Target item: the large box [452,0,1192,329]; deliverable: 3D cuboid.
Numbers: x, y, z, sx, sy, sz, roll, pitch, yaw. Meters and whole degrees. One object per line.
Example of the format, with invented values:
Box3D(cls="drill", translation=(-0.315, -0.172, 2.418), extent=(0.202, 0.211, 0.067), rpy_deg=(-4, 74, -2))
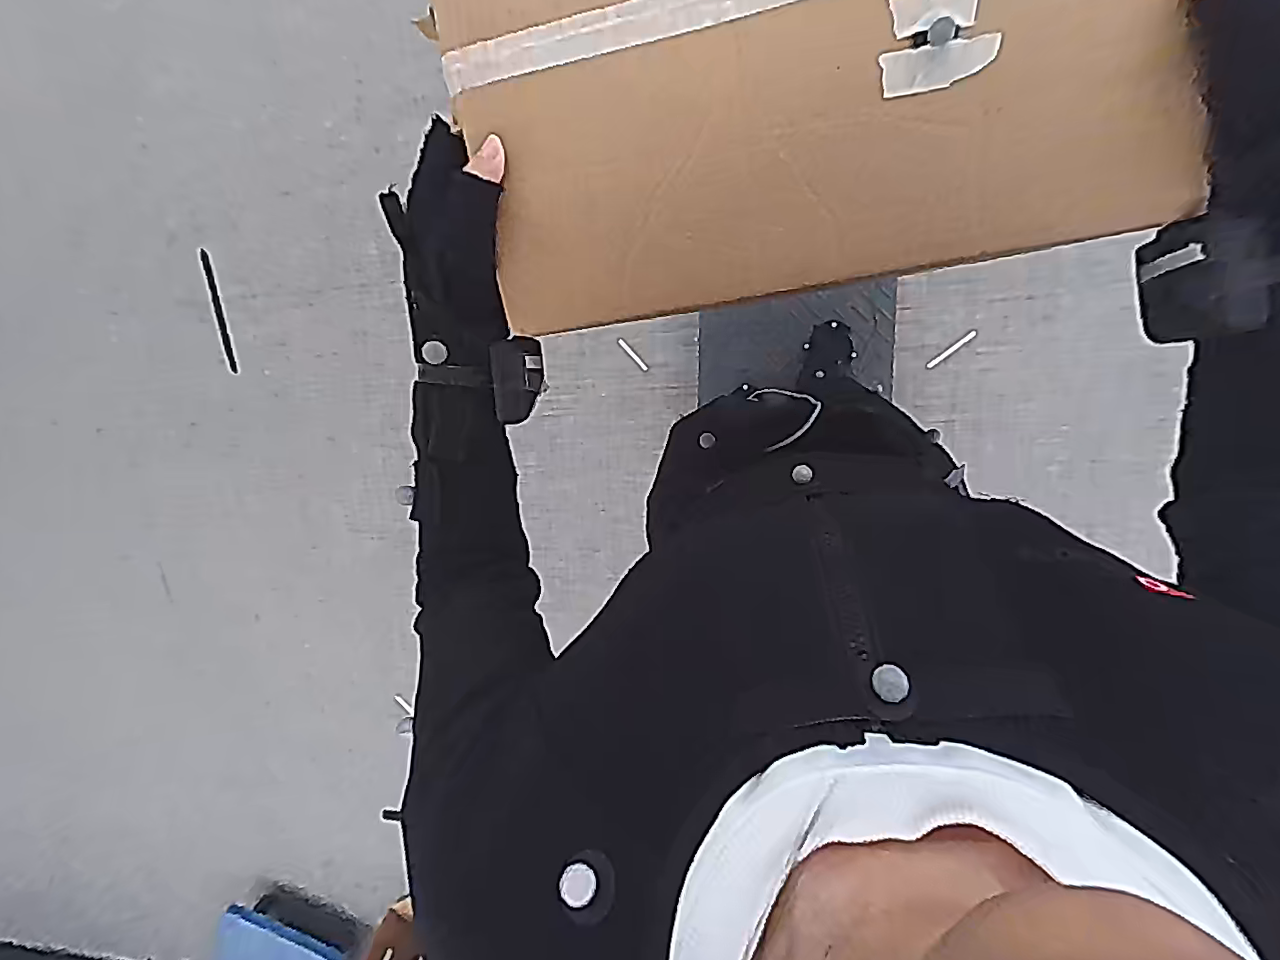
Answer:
Box3D(cls="large box", translation=(0.104, -0.320, 0.444), extent=(0.408, 0.320, 0.320), rpy_deg=(-7, 107, 10))
